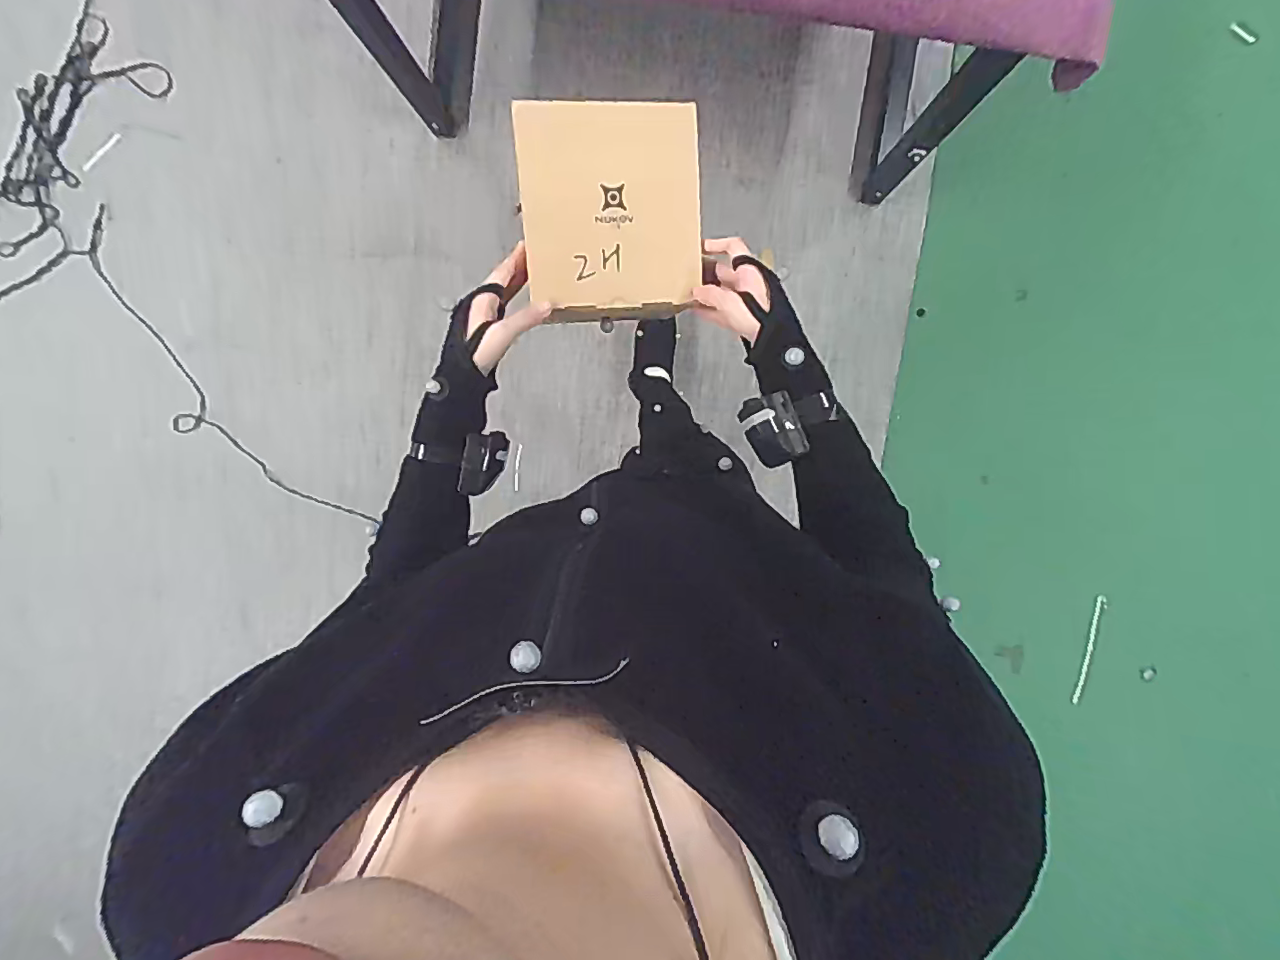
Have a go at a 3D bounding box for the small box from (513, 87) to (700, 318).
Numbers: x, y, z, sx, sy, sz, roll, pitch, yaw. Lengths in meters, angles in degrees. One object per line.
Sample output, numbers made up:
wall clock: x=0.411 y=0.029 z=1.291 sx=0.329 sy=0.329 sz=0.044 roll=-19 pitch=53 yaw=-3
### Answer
small box: x=-0.040 y=-0.271 z=0.566 sx=0.168 sy=0.176 sz=0.179 roll=-5 pitch=102 yaw=-8
